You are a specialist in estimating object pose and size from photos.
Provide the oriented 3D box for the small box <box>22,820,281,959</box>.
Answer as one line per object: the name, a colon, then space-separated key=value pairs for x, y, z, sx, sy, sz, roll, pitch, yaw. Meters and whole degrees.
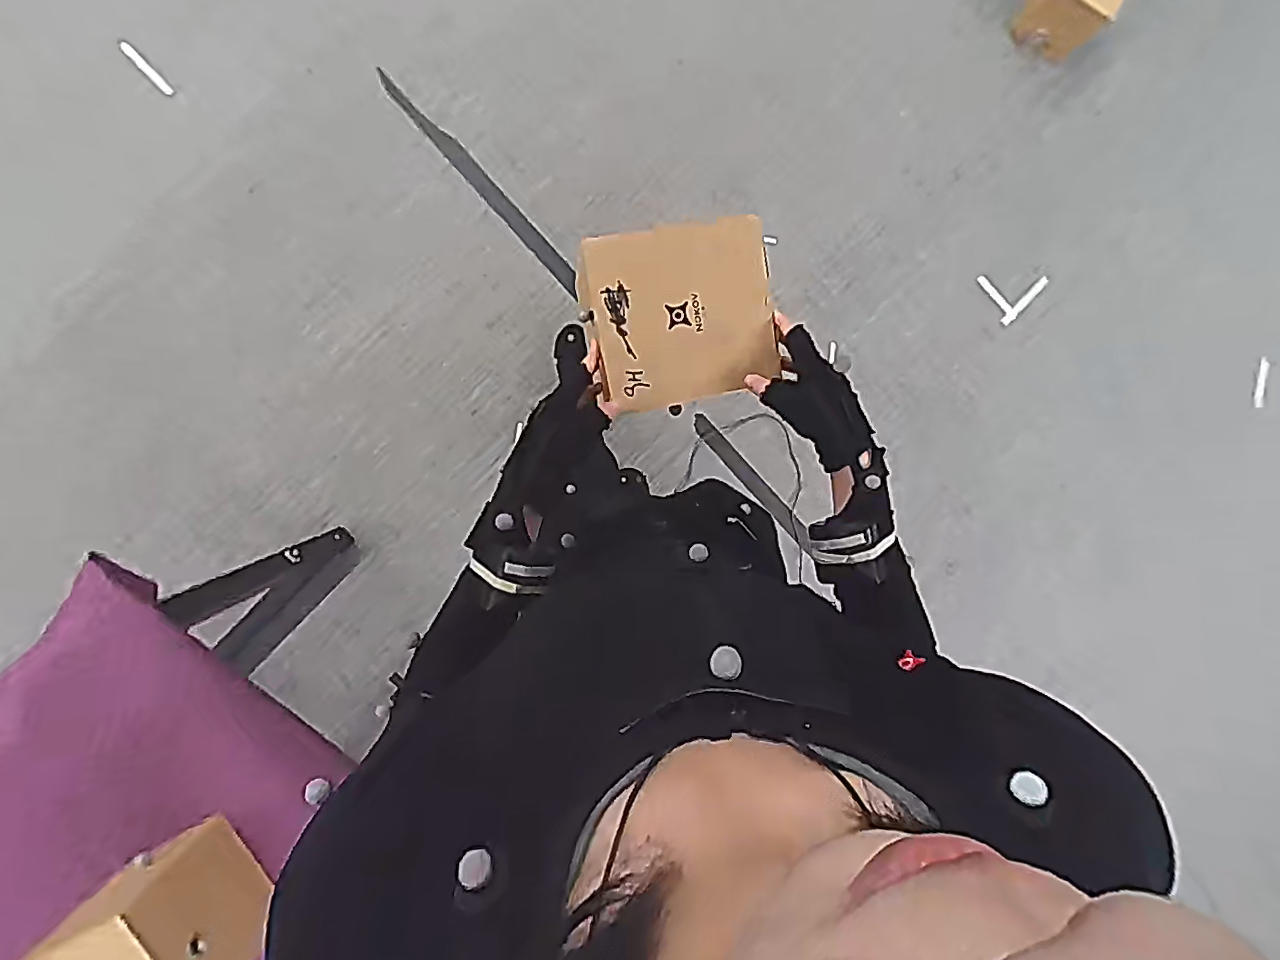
small box: x=-0.616 y=0.593 z=0.693 sx=0.168 sy=0.176 sz=0.179 roll=-30 pitch=96 yaw=0

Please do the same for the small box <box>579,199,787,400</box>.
small box: x=0.036 y=-0.180 z=0.582 sx=0.179 sy=0.176 sz=0.168 roll=-10 pitch=99 yaw=-7

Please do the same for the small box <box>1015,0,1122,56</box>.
small box: x=1.107 y=-1.244 z=1.368 sx=0.168 sy=0.176 sz=0.179 roll=27 pitch=94 yaw=-5
